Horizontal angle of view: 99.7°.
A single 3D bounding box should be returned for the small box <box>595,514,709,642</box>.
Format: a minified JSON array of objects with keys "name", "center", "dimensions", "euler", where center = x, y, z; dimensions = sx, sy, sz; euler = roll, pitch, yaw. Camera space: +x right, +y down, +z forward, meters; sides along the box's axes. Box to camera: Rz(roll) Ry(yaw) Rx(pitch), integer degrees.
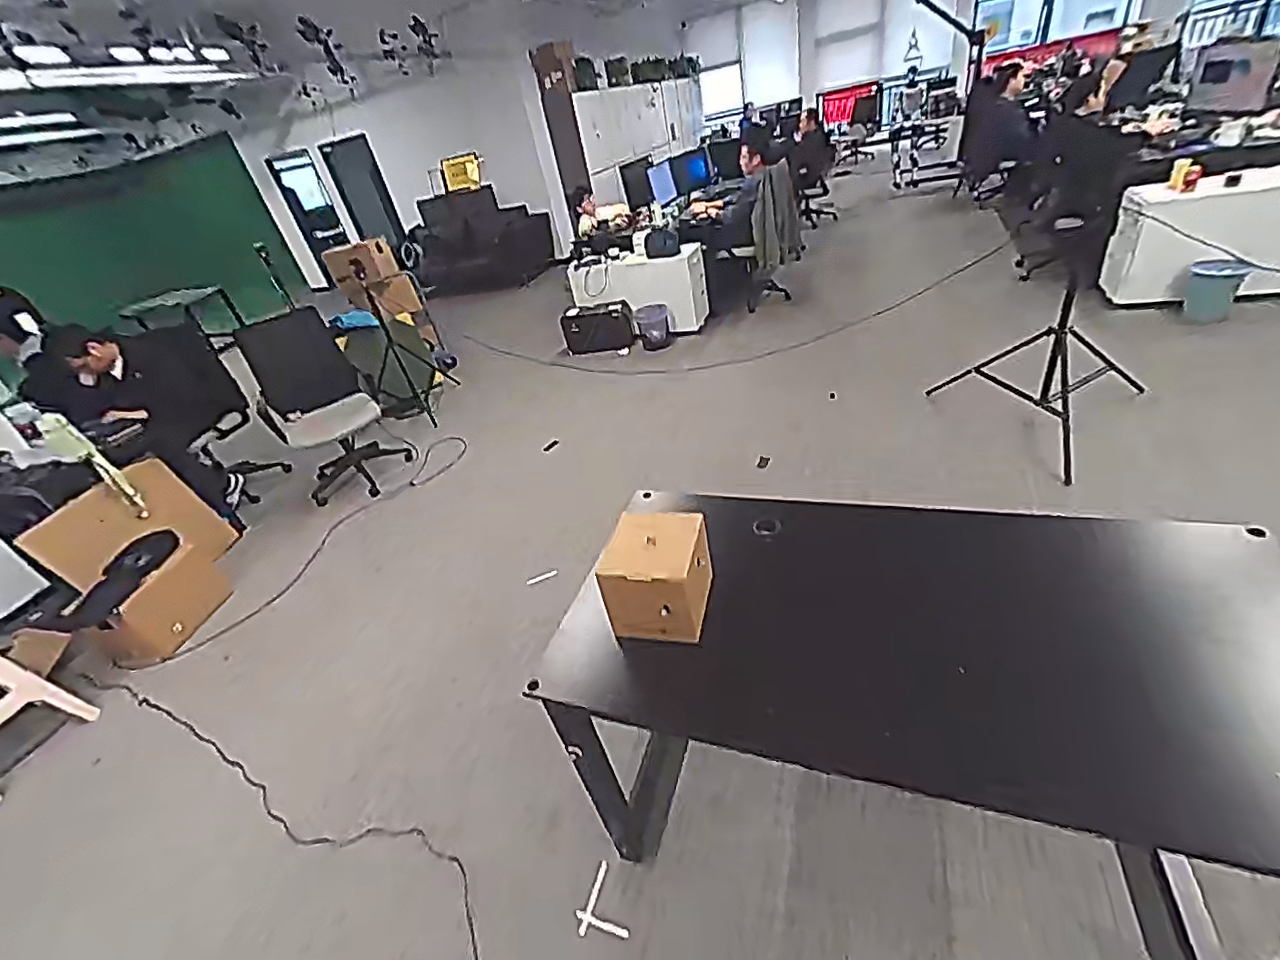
[{"name":"small box","center":[0.034,0.184,1.029],"dimensions":[0.168,0.176,0.179],"euler":[1,35,18]}]
